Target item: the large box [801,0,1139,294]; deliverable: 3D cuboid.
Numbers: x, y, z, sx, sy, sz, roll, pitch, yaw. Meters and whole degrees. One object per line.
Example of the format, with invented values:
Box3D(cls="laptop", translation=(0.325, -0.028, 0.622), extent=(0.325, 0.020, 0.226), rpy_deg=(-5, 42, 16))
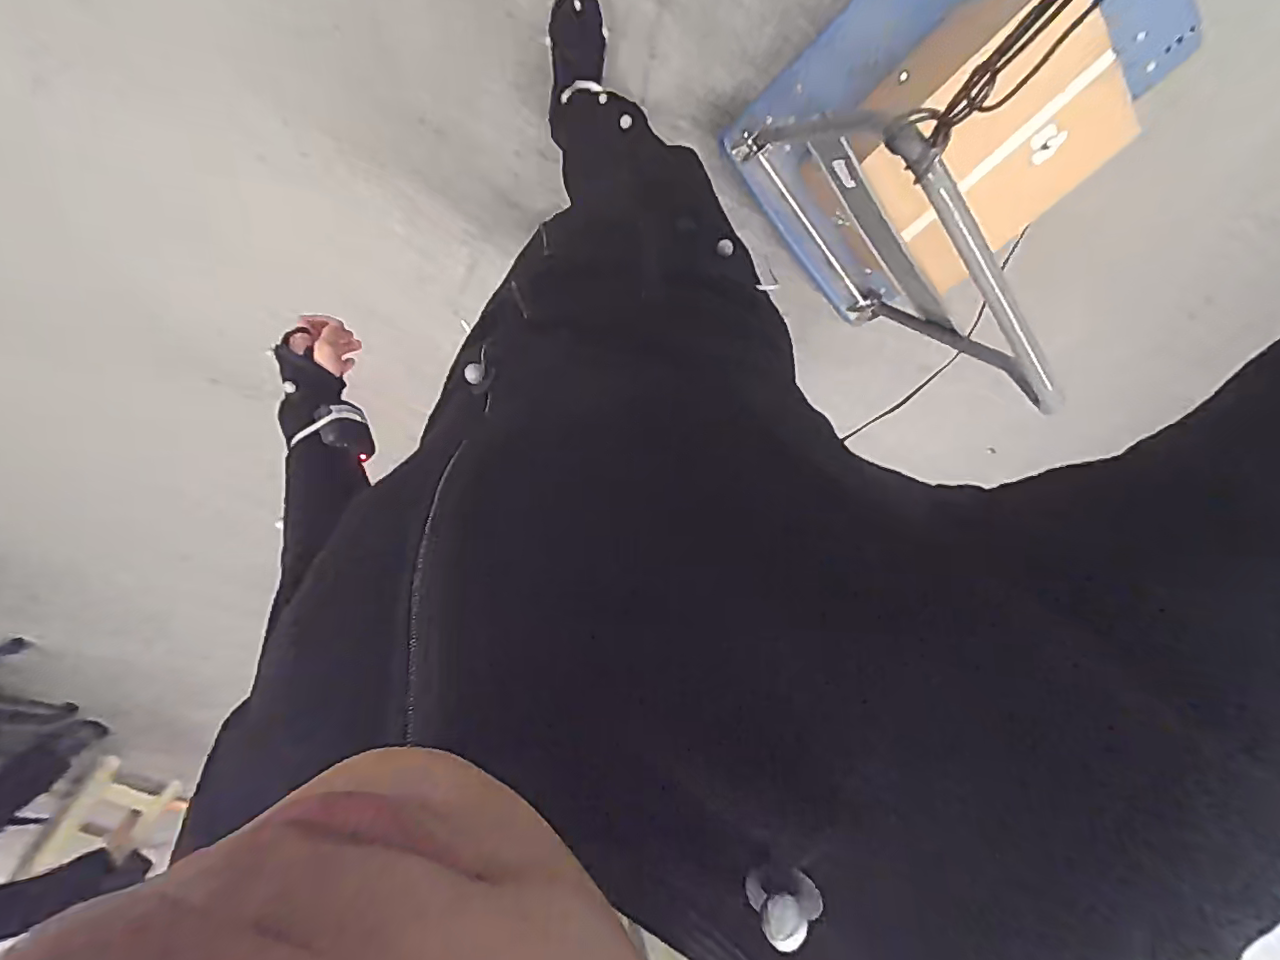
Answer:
Box3D(cls="large box", translation=(0.601, -0.645, 1.054), extent=(0.408, 0.320, 0.320), rpy_deg=(-41, 117, 18))
